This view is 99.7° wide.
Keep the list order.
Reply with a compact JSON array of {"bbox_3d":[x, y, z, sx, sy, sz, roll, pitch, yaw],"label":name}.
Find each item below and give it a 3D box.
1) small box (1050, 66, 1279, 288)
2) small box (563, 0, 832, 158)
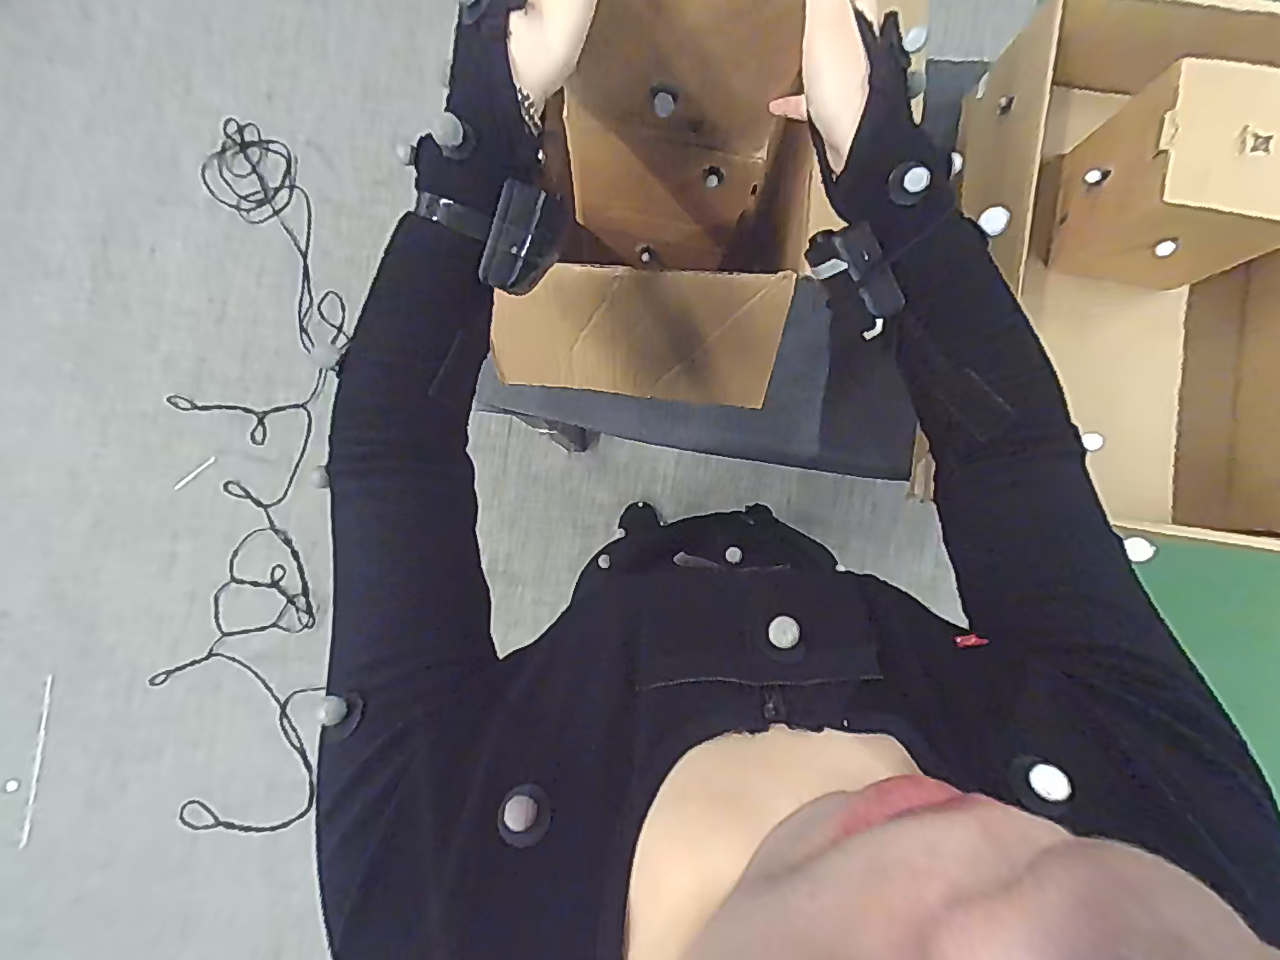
[{"bbox_3d":[0.650,-0.352,0.660,0.179,0.176,0.168,10,88,3],"label":"small box"},{"bbox_3d":[0.036,-0.370,0.377,0.168,0.176,0.179,6,87,-4],"label":"small box"}]
